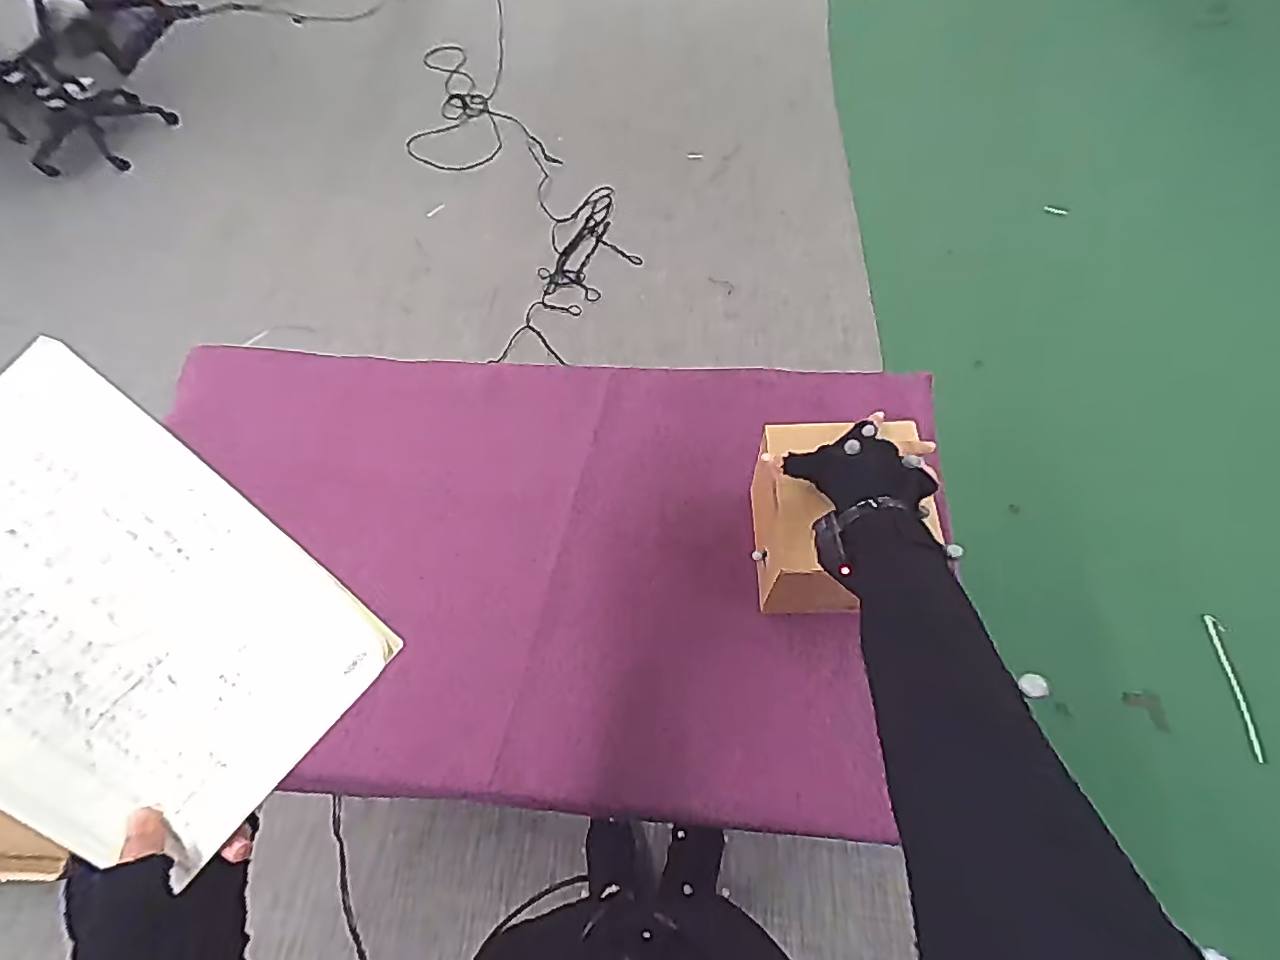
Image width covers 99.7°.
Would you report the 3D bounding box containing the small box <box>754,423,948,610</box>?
[{"bbox_3d":[0.229,0.050,0.638,0.168,0.176,0.179,0,63,4],"label":"small box"}]
